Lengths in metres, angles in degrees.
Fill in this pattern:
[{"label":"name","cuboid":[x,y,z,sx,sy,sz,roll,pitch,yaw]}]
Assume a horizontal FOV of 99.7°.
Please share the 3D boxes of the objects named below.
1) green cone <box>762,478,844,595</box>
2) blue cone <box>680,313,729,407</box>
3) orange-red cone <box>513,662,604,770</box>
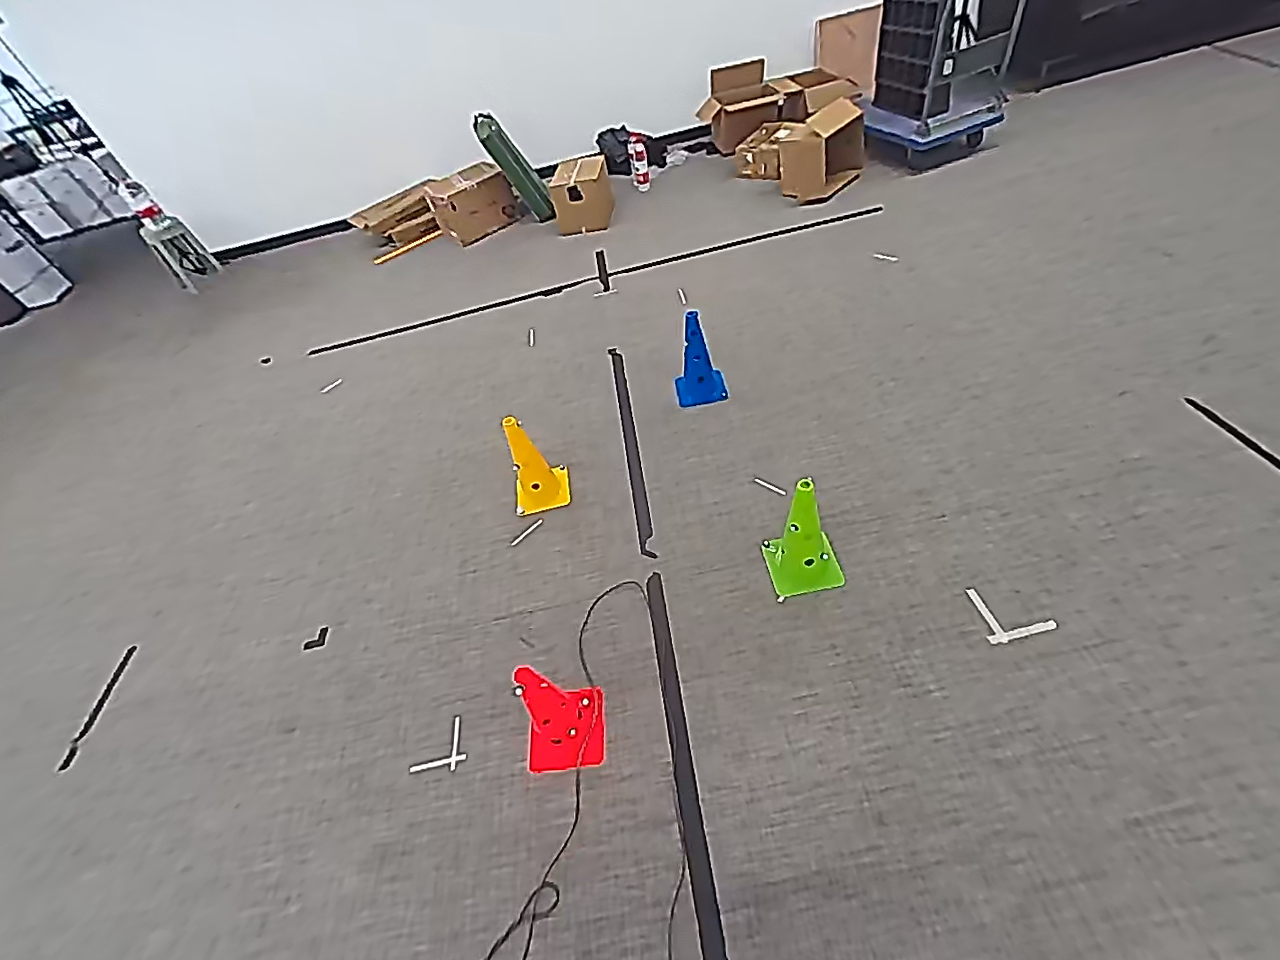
[{"label":"green cone","cuboid":[0.454,0.133,1.492,0.202,0.368,0.200,-12,46,2]},{"label":"blue cone","cuboid":[0.237,-0.485,2.138,0.192,0.380,0.193,-9,47,5]},{"label":"orange-red cone","cuboid":[-0.228,0.535,1.300,0.199,0.360,0.198,-10,45,7]}]
